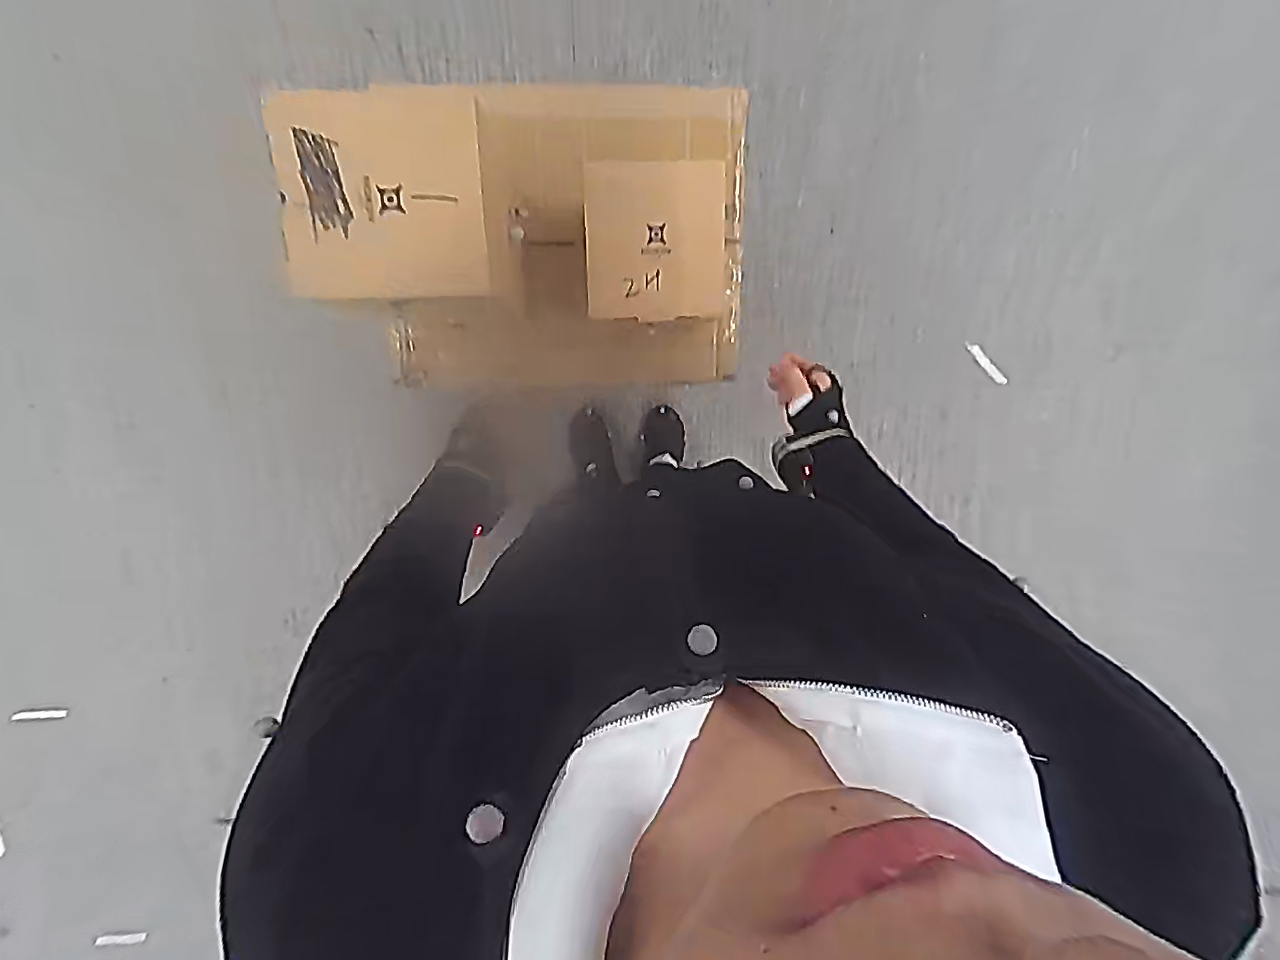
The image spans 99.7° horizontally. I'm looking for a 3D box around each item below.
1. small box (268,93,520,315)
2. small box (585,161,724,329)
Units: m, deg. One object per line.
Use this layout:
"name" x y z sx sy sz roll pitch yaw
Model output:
"small box" -0.227 -0.261 0.549 0.179 0.176 0.168 -3 103 -3
"small box" 0.014 -0.298 0.719 0.168 0.176 0.179 -2 103 -1
